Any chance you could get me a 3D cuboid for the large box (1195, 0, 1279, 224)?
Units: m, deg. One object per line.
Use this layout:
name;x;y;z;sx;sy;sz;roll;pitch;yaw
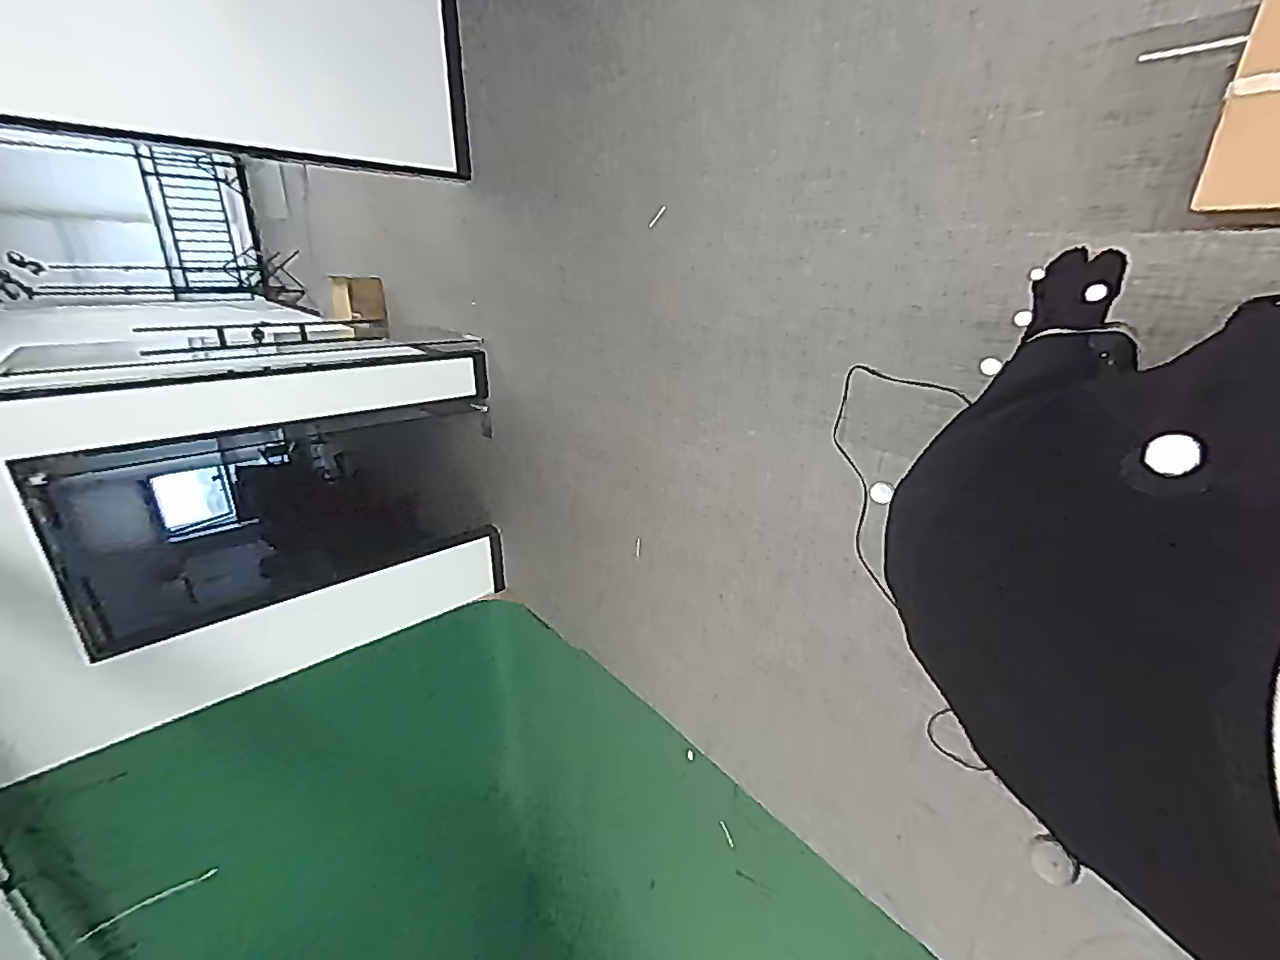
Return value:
large box;1.072;-0.530;0.714;0.408;0.320;0.320;24;120;43
